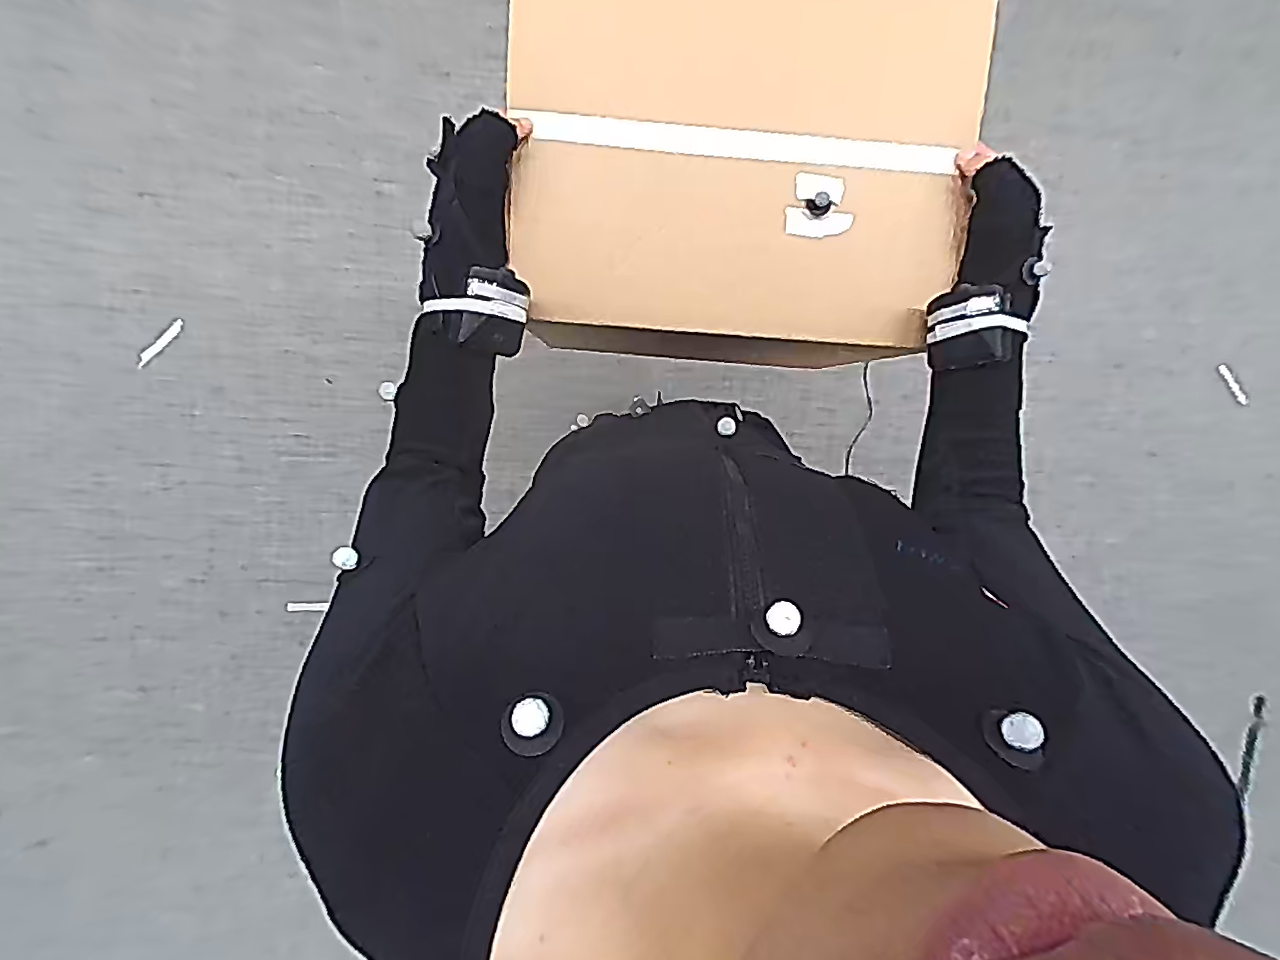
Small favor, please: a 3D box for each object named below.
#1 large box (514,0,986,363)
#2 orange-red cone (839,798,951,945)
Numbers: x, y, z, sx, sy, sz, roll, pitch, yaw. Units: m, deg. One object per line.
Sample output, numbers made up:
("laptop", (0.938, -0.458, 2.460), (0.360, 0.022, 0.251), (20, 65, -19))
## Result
("large box", (0.083, -0.309, 0.616), (0.408, 0.320, 0.320), (3, 99, -4))
("orange-red cone", (0.703, 1.060, 1.446), (0.198, 0.360, 0.199), (0, 95, -3))
